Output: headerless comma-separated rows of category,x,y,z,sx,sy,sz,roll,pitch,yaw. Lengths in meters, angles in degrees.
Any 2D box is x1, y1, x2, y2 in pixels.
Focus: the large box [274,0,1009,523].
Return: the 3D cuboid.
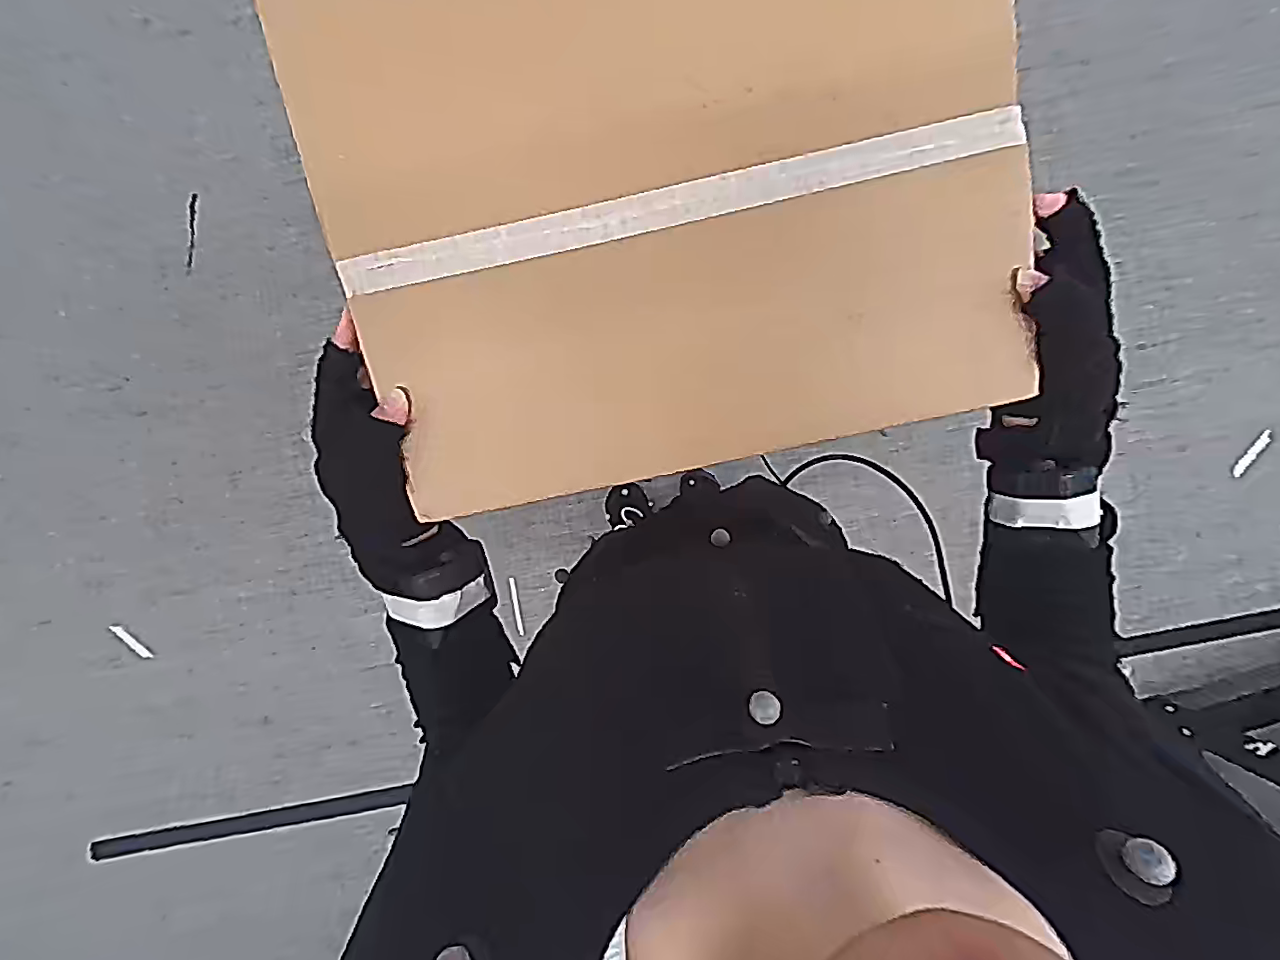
large box,0.016,-0.190,0.473,0.408,0.320,0.320,-12,101,2
